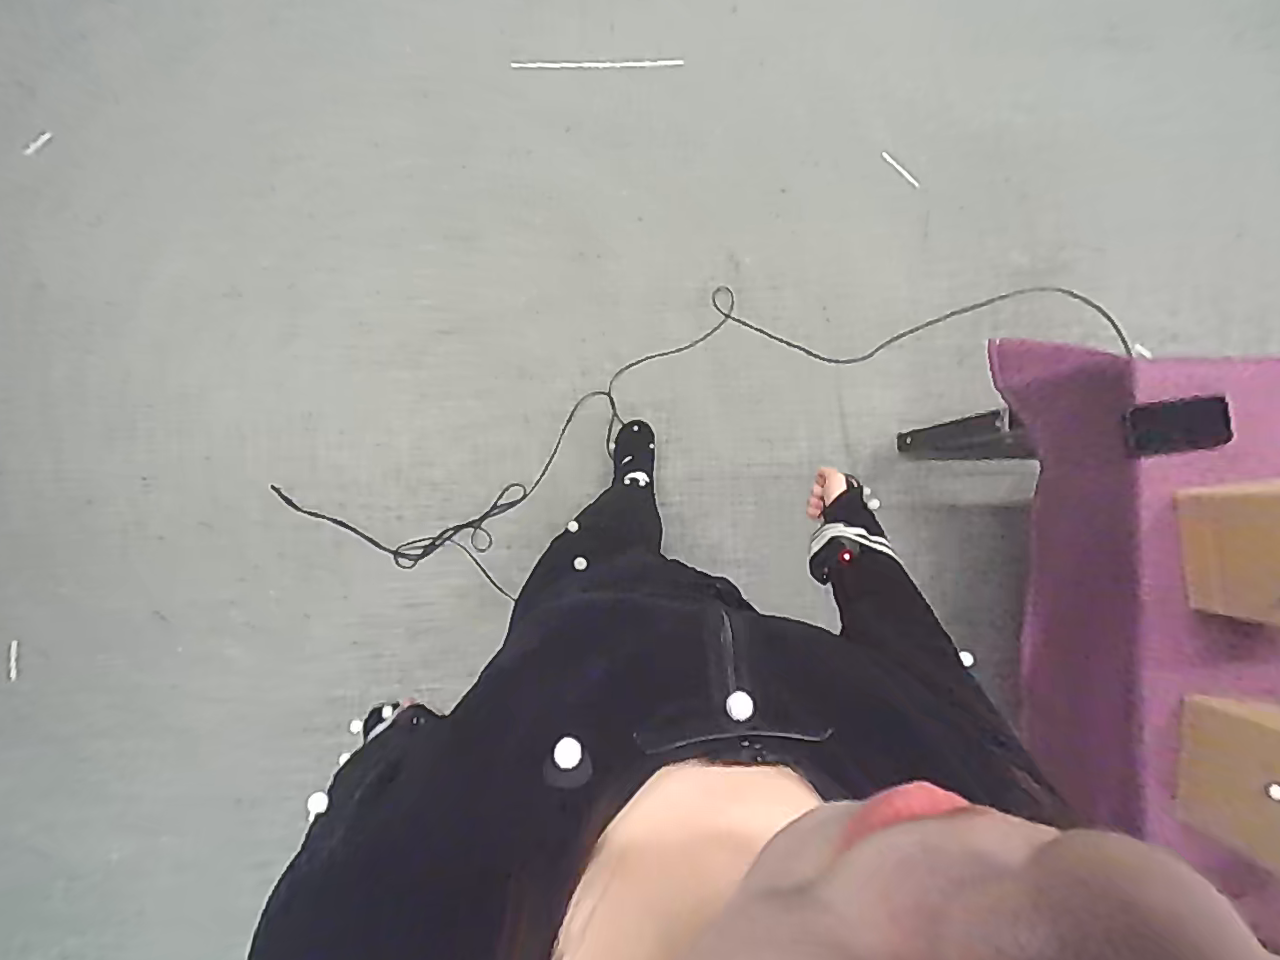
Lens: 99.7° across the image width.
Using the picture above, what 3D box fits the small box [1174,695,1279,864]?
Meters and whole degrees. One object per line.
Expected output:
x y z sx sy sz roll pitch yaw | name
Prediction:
0.863 0.400 0.709 0.168 0.176 0.179 6 89 -2 | small box

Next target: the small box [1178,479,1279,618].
0.877 0.087 0.720 0.168 0.176 0.179 -6 90 -3 | small box
